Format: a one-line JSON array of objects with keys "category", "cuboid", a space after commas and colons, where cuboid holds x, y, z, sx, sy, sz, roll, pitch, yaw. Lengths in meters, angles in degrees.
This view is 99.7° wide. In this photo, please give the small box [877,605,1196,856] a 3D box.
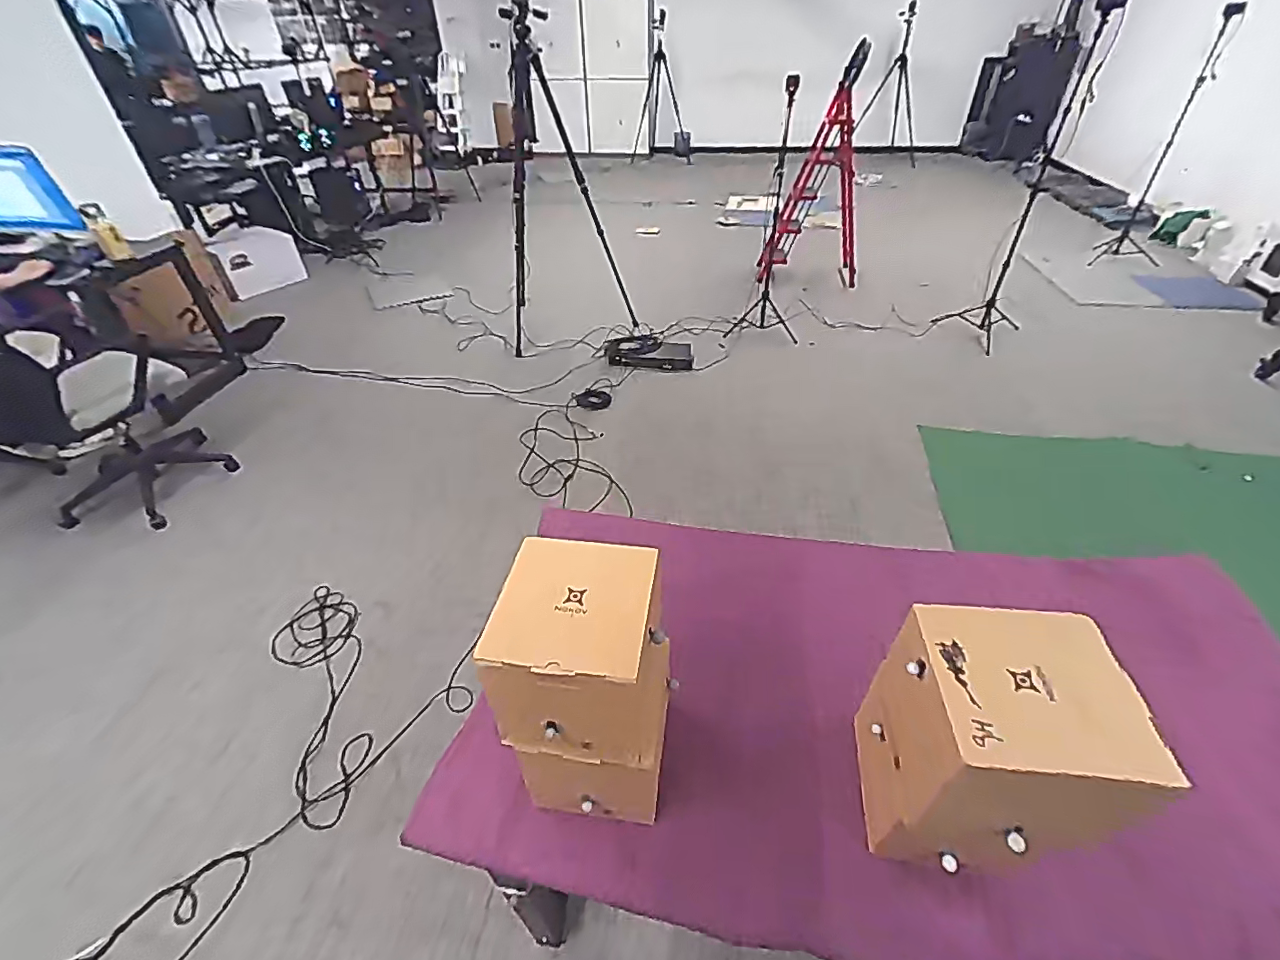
[{"category": "small box", "cuboid": [0.360, 0.249, 0.539, 0.179, 0.176, 0.168, 4, 40, 7]}]

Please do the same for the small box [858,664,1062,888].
[{"category": "small box", "cuboid": [0.377, 0.359, 0.663, 0.168, 0.176, 0.179, 6, 40, 9]}]

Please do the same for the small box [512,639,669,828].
[{"category": "small box", "cuboid": [-0.054, 0.324, 0.717, 0.168, 0.176, 0.179, 4, 39, 8]}]

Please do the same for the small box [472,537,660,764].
[{"category": "small box", "cuboid": [-0.071, 0.192, 0.623, 0.168, 0.176, 0.179, 5, 39, 7]}]
